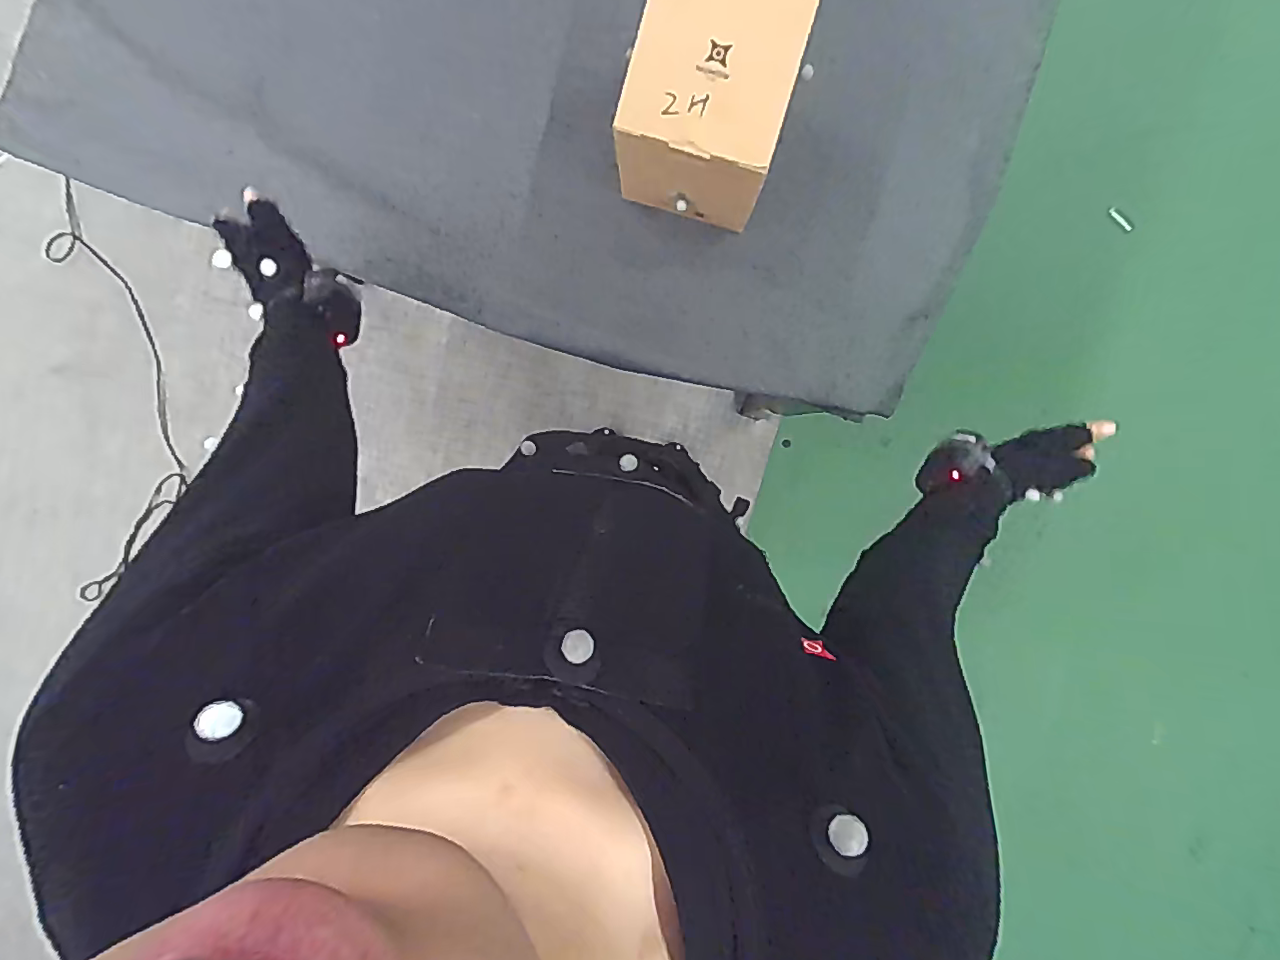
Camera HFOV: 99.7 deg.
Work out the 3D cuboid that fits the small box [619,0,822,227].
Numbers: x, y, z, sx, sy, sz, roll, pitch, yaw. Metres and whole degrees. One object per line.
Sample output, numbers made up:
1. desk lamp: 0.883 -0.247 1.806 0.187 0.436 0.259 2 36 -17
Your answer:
1. small box: 0.081 -0.425 0.618 0.168 0.176 0.179 17 95 1
